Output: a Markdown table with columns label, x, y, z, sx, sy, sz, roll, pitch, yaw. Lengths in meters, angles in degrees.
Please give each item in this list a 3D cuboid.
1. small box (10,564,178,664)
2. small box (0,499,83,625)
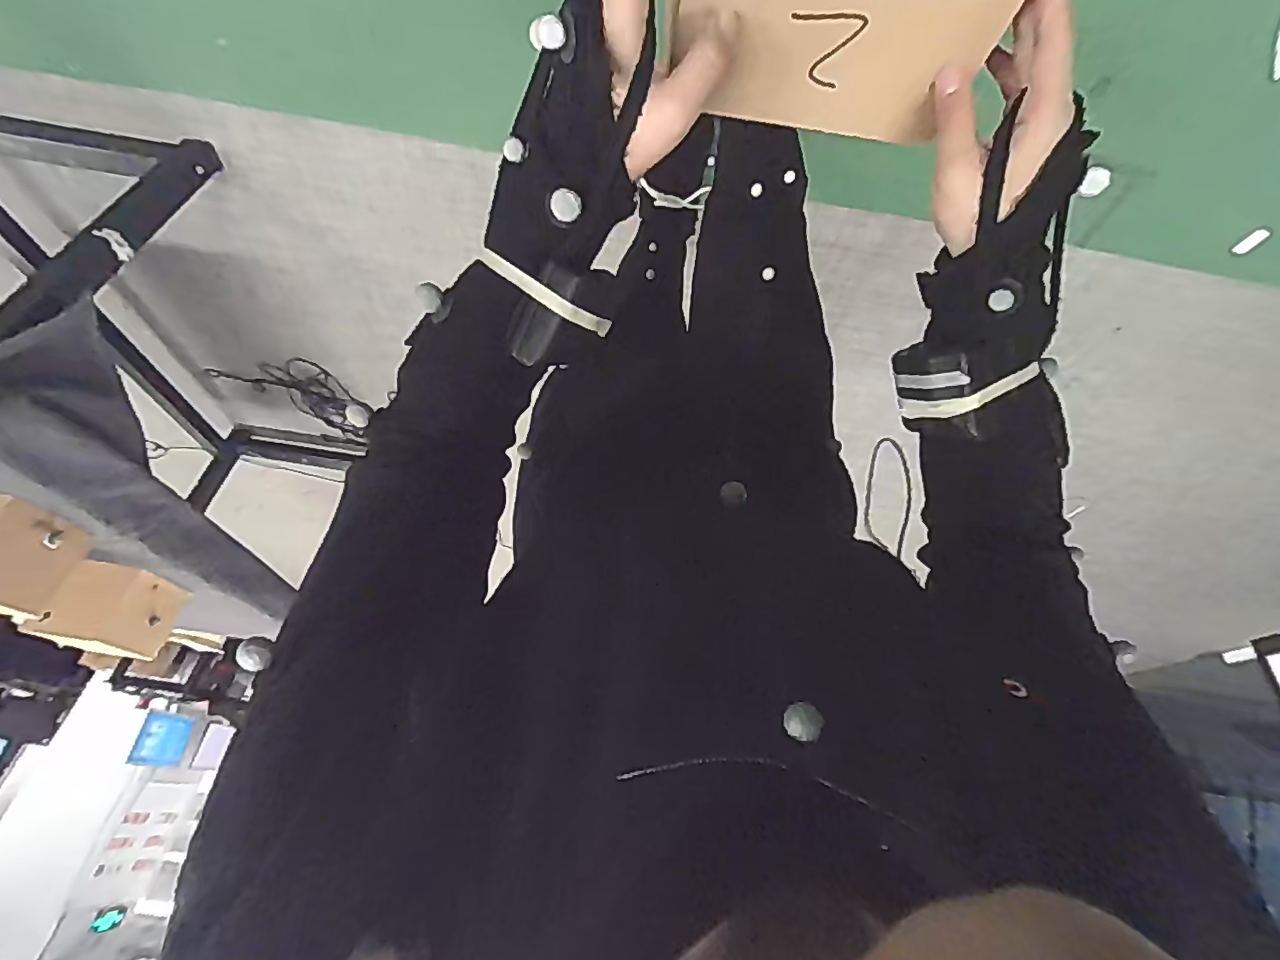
| label | x | y | z | sx | sy | sz | roll | pitch | yaw |
| --- | --- | --- | --- | --- | --- | --- | --- | --- | --- |
| small box | -1.188 | 0.298 | 1.202 | 0.179 | 0.176 | 0.168 | 7 | 149 | 4 |
| small box | -1.142 | 0.133 | 0.925 | 0.179 | 0.176 | 0.168 | 5 | 150 | 5 |
